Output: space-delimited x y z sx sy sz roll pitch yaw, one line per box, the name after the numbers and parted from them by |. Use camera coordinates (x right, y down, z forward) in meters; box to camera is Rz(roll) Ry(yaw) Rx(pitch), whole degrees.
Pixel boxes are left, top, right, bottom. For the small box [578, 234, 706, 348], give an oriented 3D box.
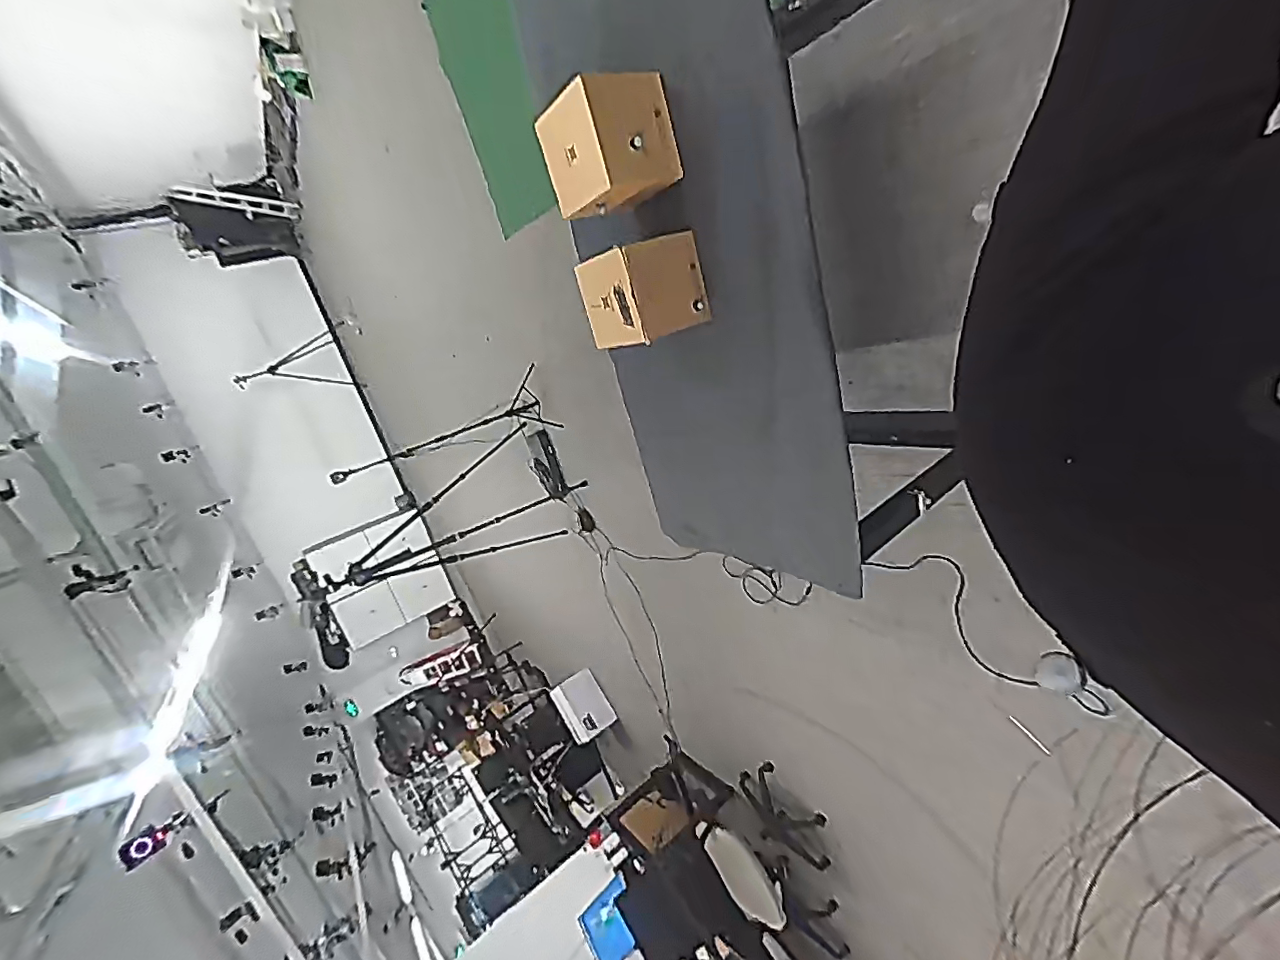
0.011 -0.365 1.052 0.179 0.176 0.168 12 123 55 | small box

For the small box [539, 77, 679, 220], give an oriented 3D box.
-0.048 -0.590 0.968 0.179 0.176 0.168 9 120 56 | small box
